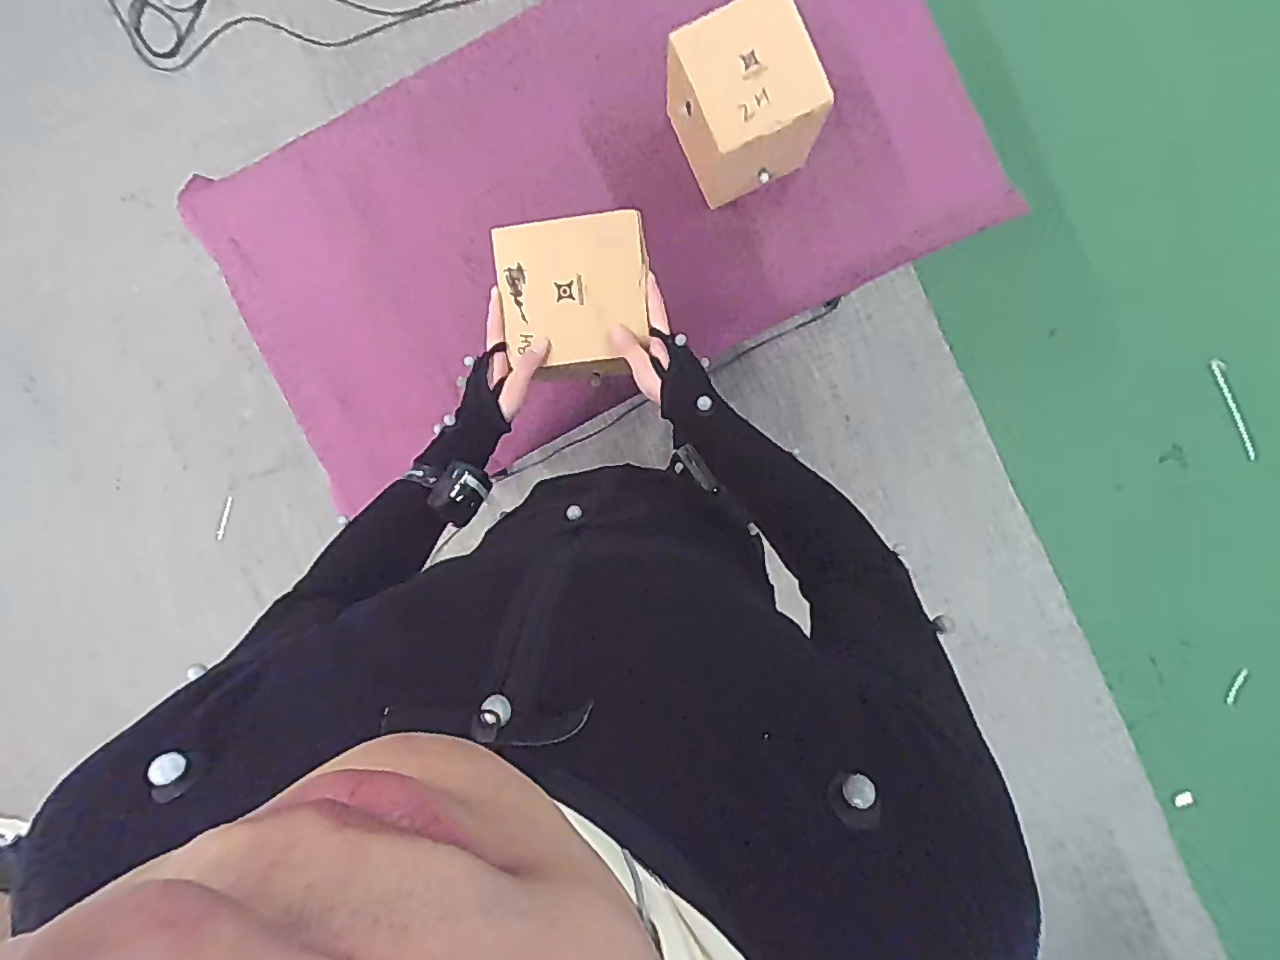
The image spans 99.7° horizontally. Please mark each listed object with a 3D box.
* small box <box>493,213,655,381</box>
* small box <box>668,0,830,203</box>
[{"bbox_3d":[-0.073,-0.224,0.704,0.179,0.176,0.168,-5,95,4],"label":"small box"},{"bbox_3d":[0.145,-0.550,0.789,0.168,0.176,0.179,-24,92,4],"label":"small box"}]
